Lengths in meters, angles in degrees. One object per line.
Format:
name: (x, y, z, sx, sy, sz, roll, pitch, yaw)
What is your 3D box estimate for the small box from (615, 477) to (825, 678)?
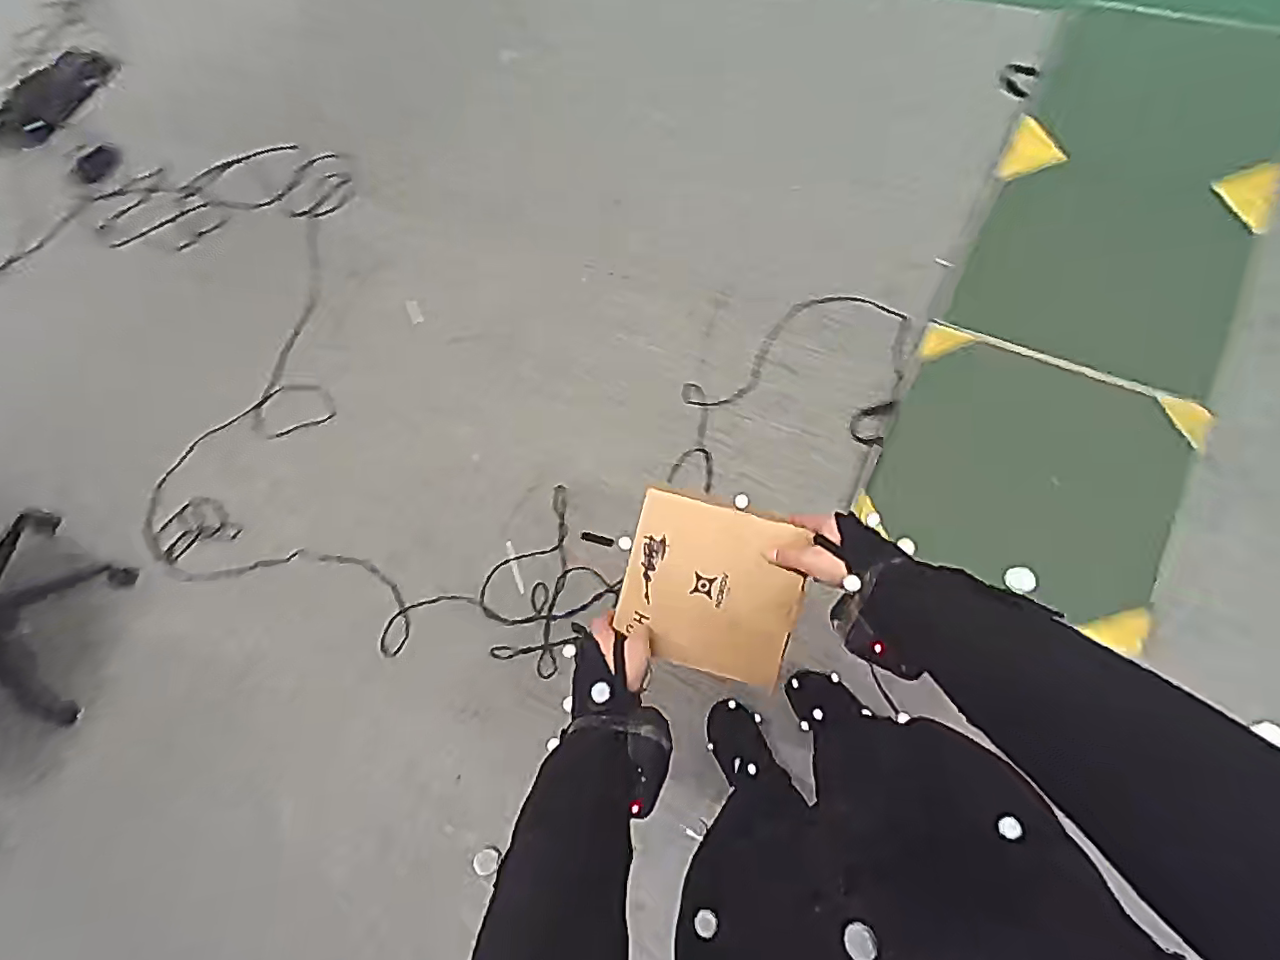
small box: (0.082, 0.096, 0.621, 0.179, 0.176, 0.168, 16, 93, 2)
